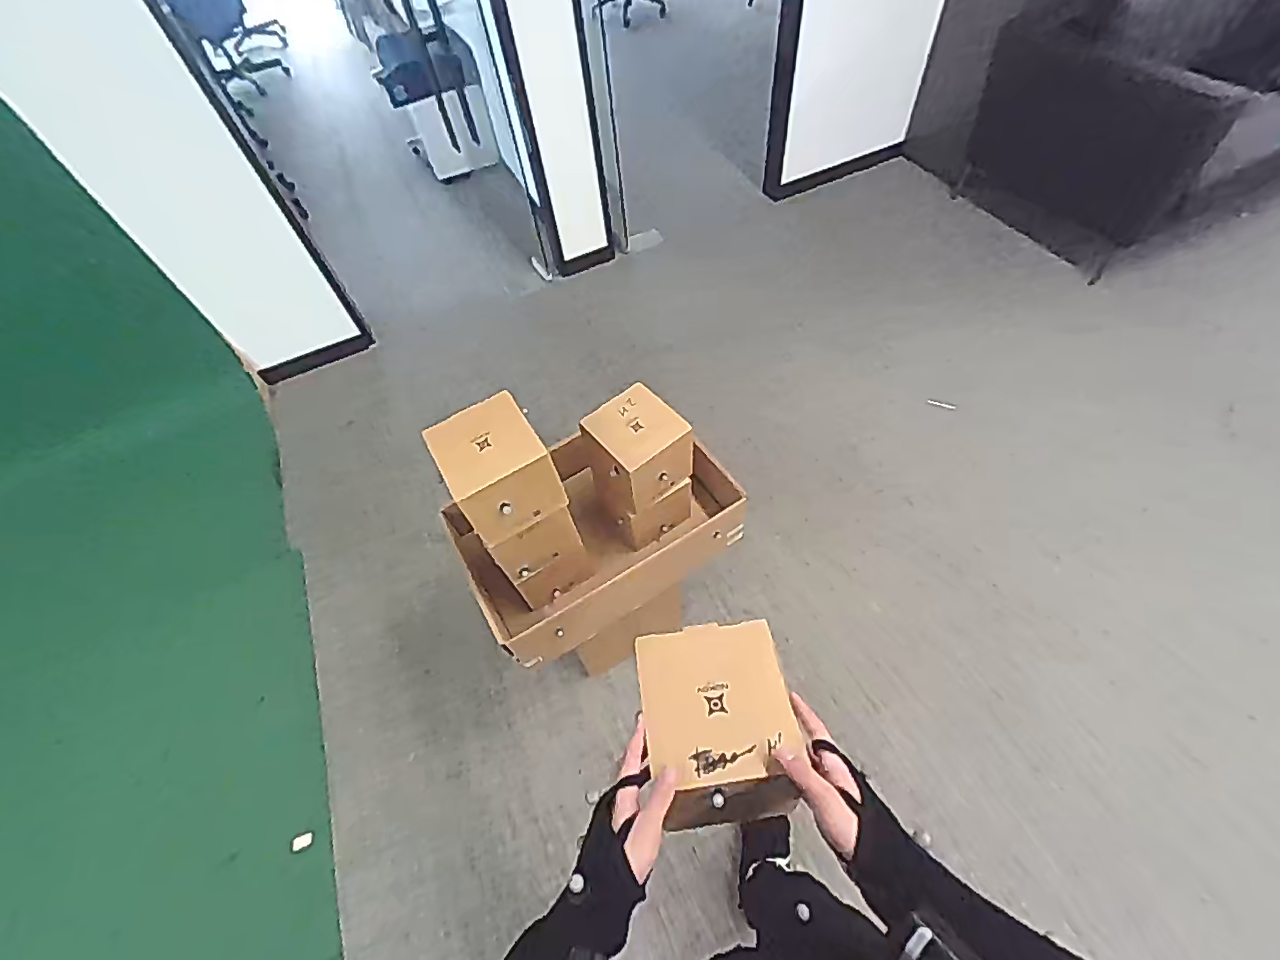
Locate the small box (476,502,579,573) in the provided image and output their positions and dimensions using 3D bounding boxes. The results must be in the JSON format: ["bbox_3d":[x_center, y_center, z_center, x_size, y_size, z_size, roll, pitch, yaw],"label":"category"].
[{"bbox_3d":[-0.240,0.065,1.087,0.168,0.176,0.179,-28,57,-12],"label":"small box"}]

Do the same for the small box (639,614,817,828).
[{"bbox_3d":[0.093,0.289,0.649,0.168,0.176,0.179,-9,46,-1],"label":"small box"}]

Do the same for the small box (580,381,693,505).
[{"bbox_3d":[-0.002,-0.069,1.151,0.168,0.176,0.179,-35,60,-18],"label":"small box"}]

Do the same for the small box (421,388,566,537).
[{"bbox_3d":[-0.249,-0.022,0.950,0.168,0.176,0.179,-30,58,-13],"label":"small box"}]
